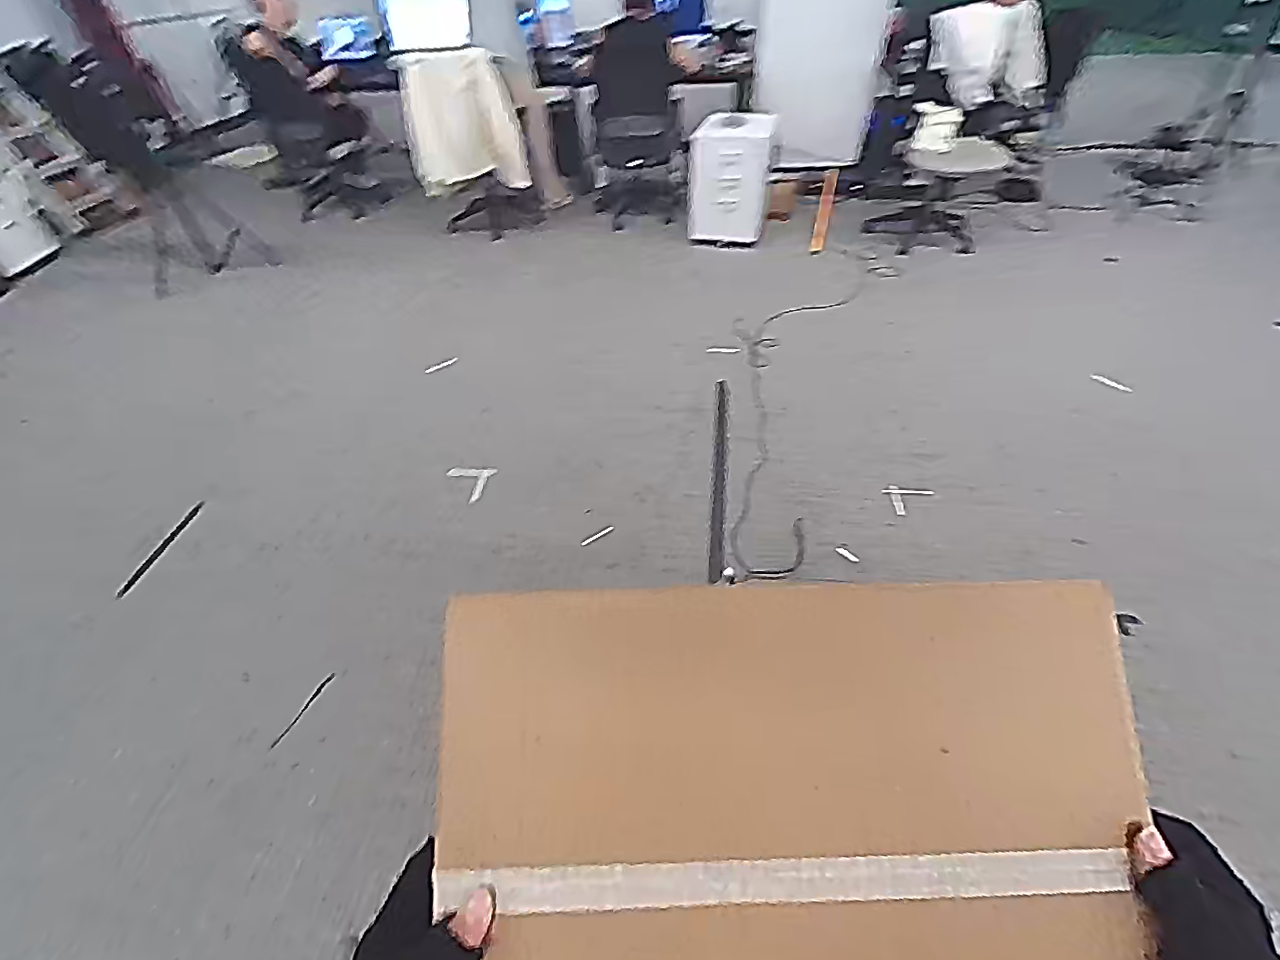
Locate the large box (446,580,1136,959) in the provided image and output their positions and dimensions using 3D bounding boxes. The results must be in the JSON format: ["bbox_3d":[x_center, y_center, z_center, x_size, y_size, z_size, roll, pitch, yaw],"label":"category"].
[{"bbox_3d":[0.086,0.254,0.463,0.408,0.320,0.320,-2,79,-1],"label":"large box"}]
